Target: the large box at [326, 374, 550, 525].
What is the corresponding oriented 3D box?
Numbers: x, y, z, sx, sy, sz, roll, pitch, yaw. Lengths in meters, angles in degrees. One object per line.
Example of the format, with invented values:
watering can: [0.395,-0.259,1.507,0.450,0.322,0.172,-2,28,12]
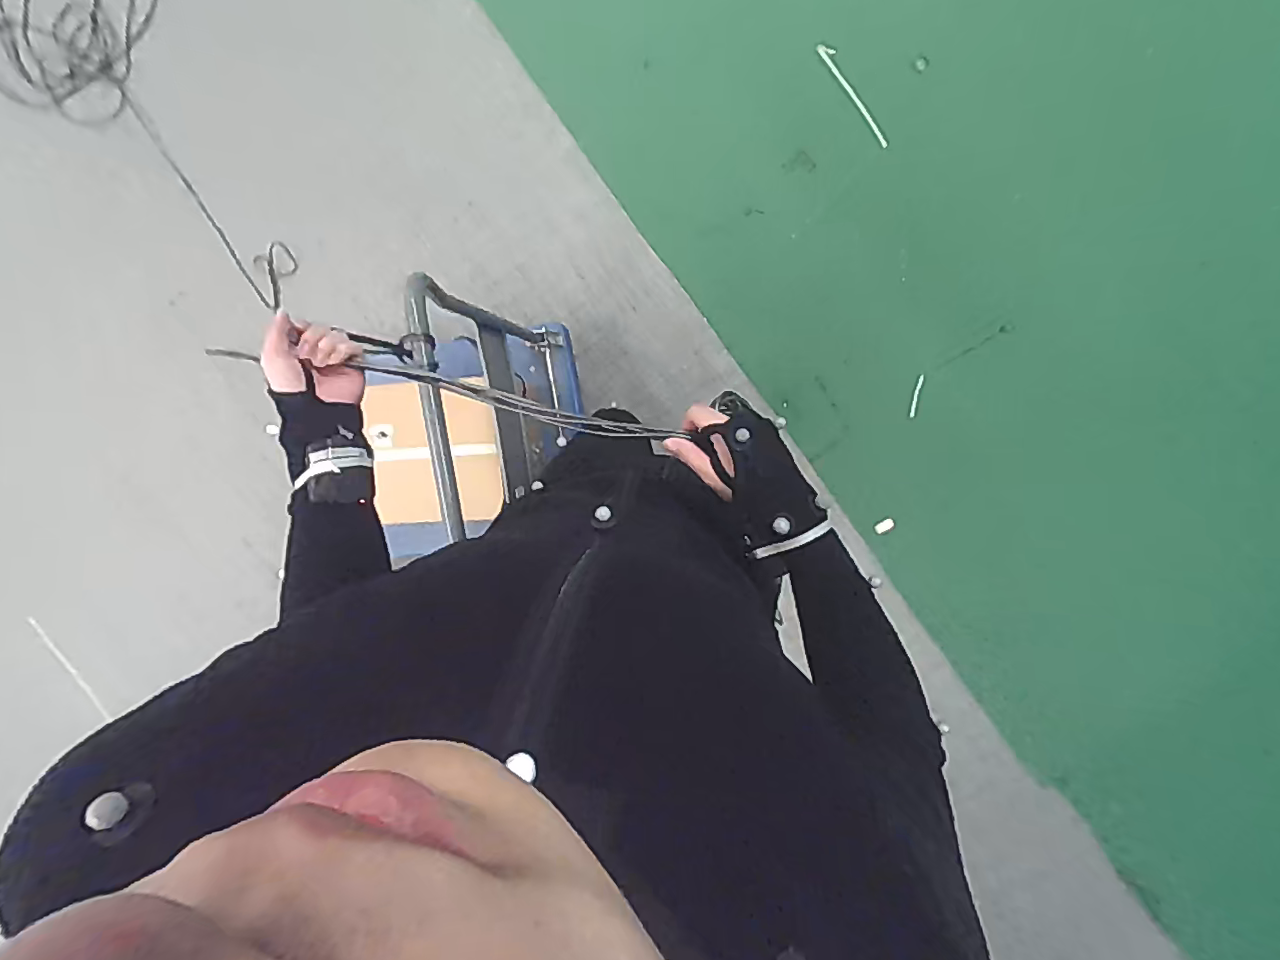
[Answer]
large box: [-0.468,-0.081,1.331,0.408,0.320,0.320,-3,97,8]
